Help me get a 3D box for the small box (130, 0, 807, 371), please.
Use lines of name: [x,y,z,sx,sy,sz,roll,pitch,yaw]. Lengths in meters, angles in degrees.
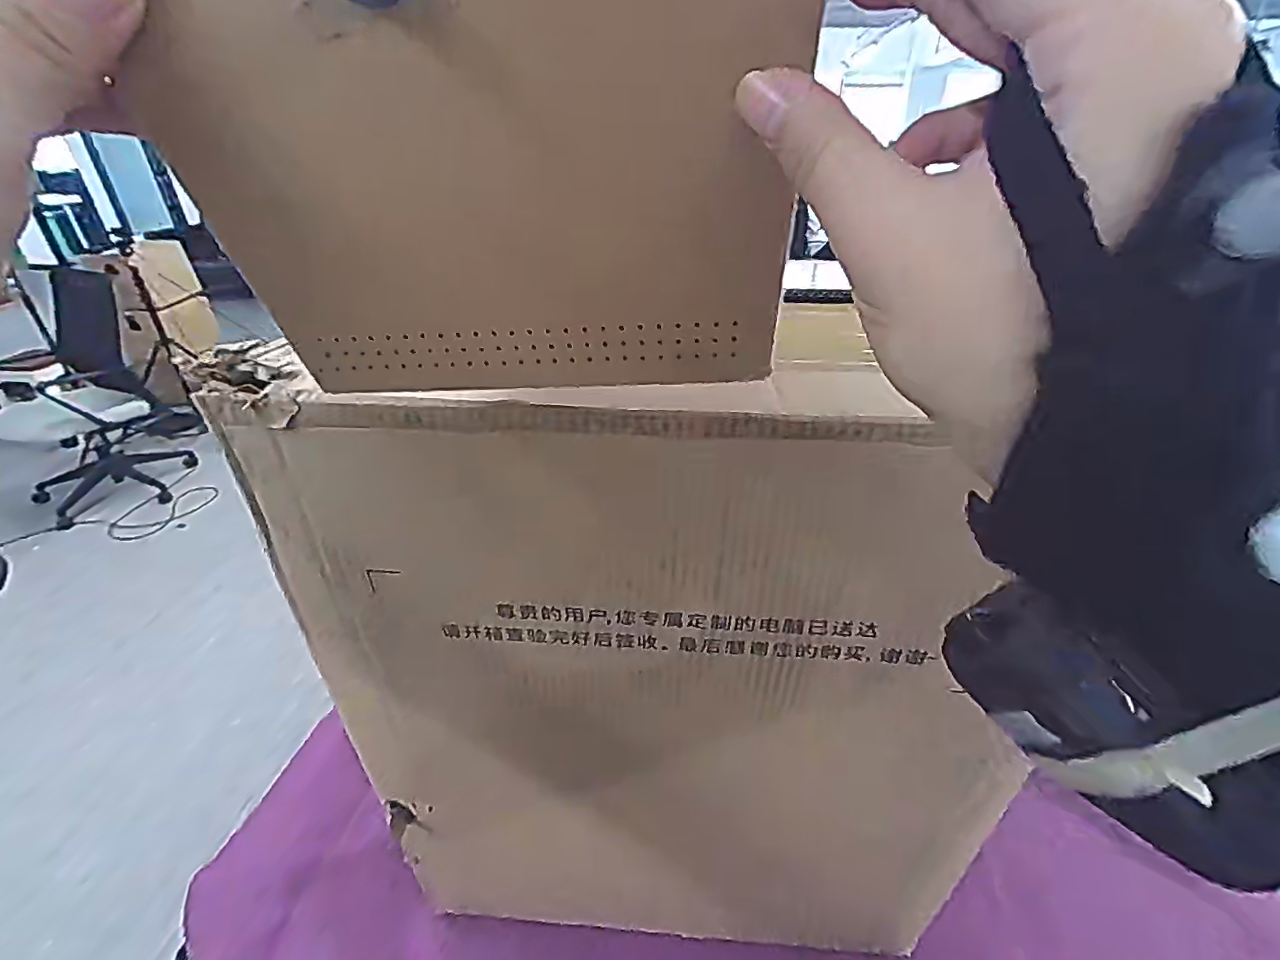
small box: [-0.040,-0.153,0.195,0.179,0.176,0.168,-1,51,4]
